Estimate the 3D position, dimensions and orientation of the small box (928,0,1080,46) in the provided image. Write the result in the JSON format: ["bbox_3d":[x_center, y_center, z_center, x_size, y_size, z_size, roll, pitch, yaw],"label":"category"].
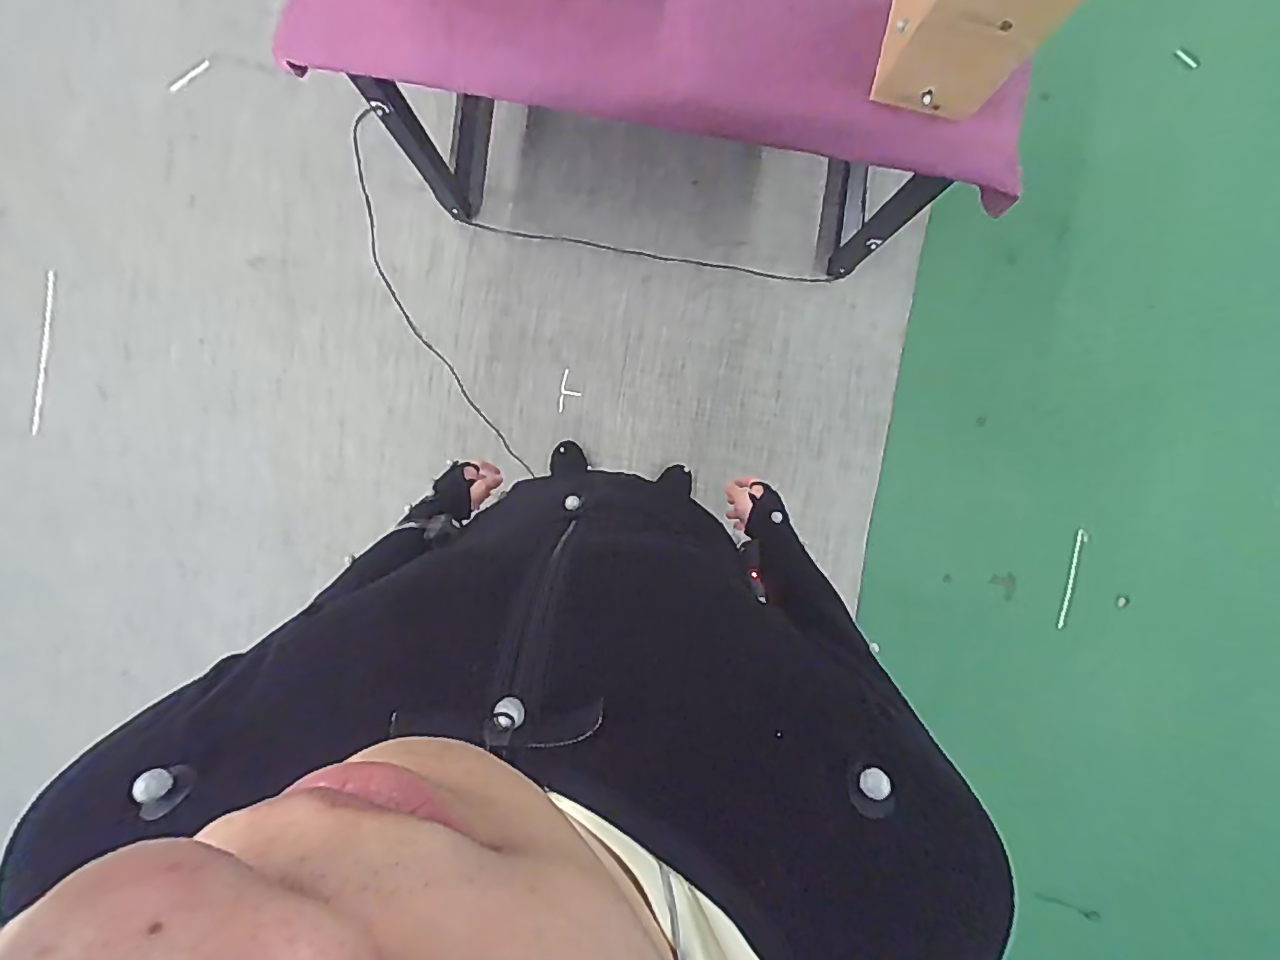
[{"bbox_3d":[0.479,-0.685,0.647,0.168,0.176,0.179,13,91,0],"label":"small box"}]
